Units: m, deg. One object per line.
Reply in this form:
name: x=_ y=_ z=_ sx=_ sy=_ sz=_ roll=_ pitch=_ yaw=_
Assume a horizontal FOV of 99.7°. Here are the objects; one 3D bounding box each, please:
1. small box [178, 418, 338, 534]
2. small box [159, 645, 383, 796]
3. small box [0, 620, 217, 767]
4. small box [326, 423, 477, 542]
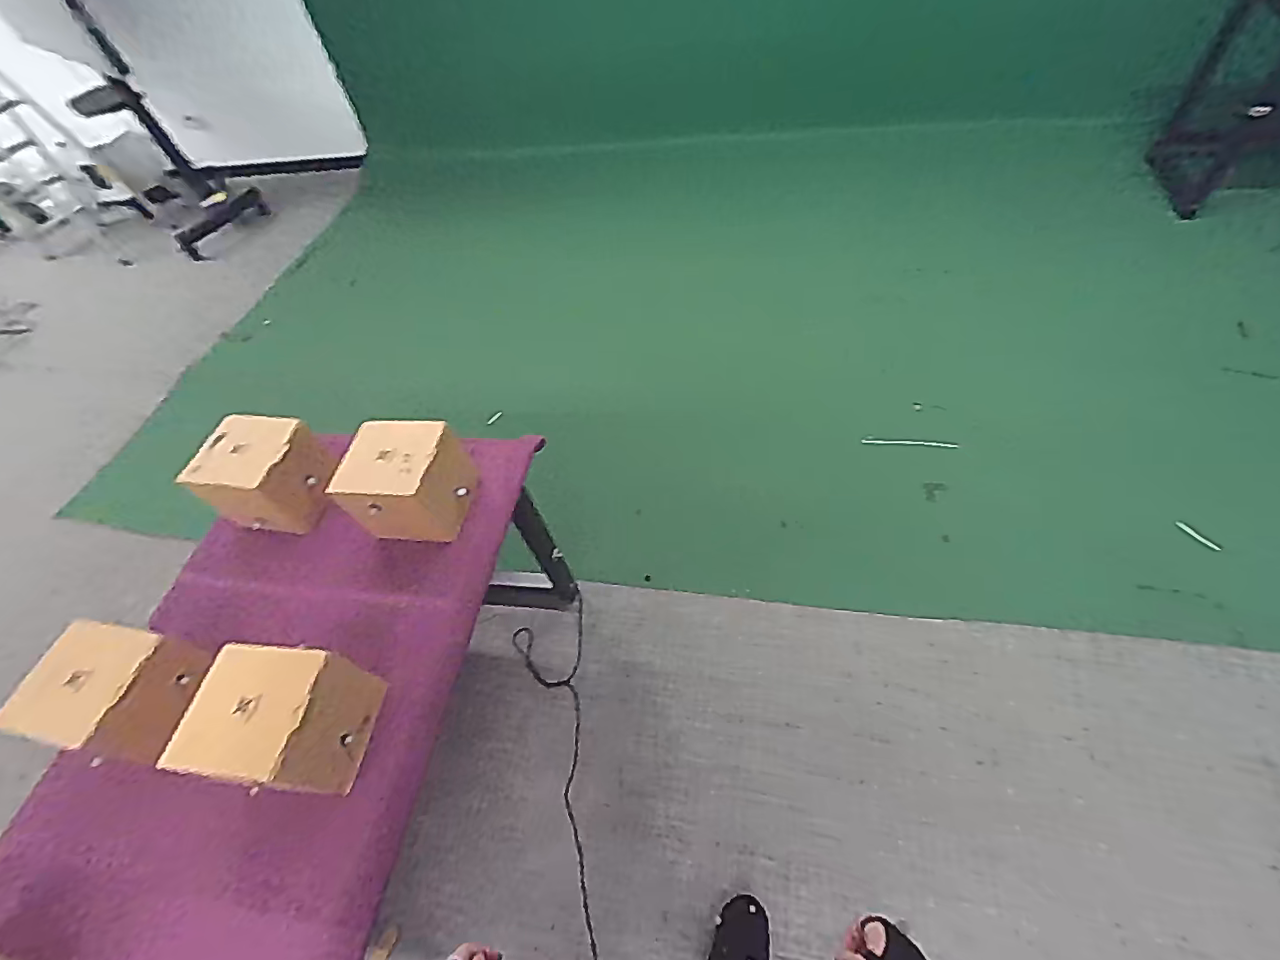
small box: x=-0.755 y=-0.005 z=1.098 sx=0.179 sy=0.176 sz=0.168 roll=5 pitch=55 yaw=9
small box: x=-0.525 y=0.358 z=0.799 sx=0.179 sy=0.176 sz=0.168 roll=1 pitch=54 yaw=10
small box: x=-0.817 y=0.342 z=0.857 sx=0.179 sy=0.176 sz=0.168 roll=5 pitch=54 yaw=13
small box: x=-0.445 y=0.008 z=1.039 sx=0.179 sy=0.176 sz=0.168 roll=2 pitch=56 yaw=11
